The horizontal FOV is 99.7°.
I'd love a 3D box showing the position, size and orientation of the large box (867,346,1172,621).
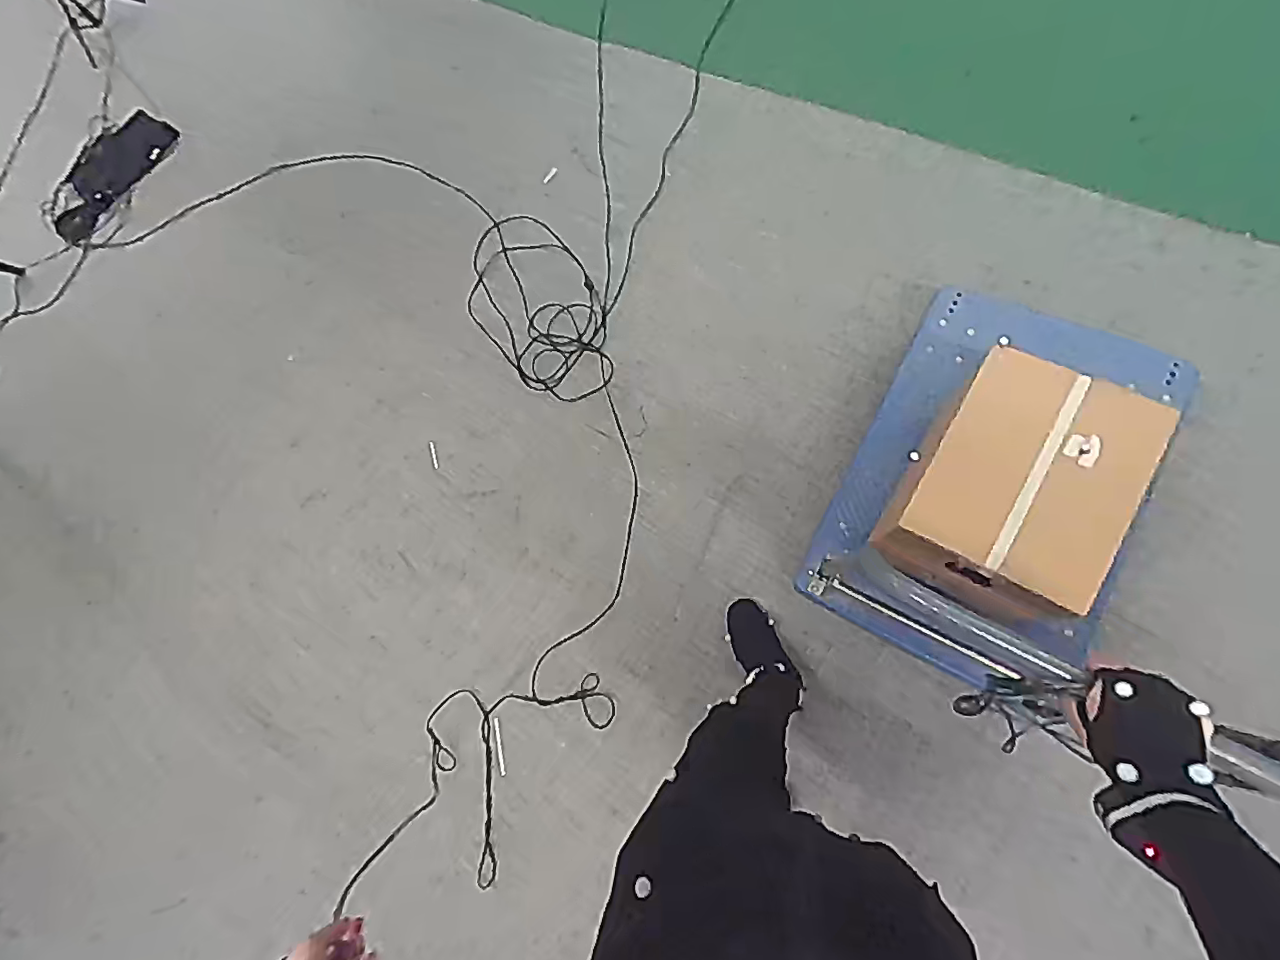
[{"bbox_3d":[0.708,0.025,1.074,0.320,0.320,0.408,29,82,17],"label":"large box"}]
